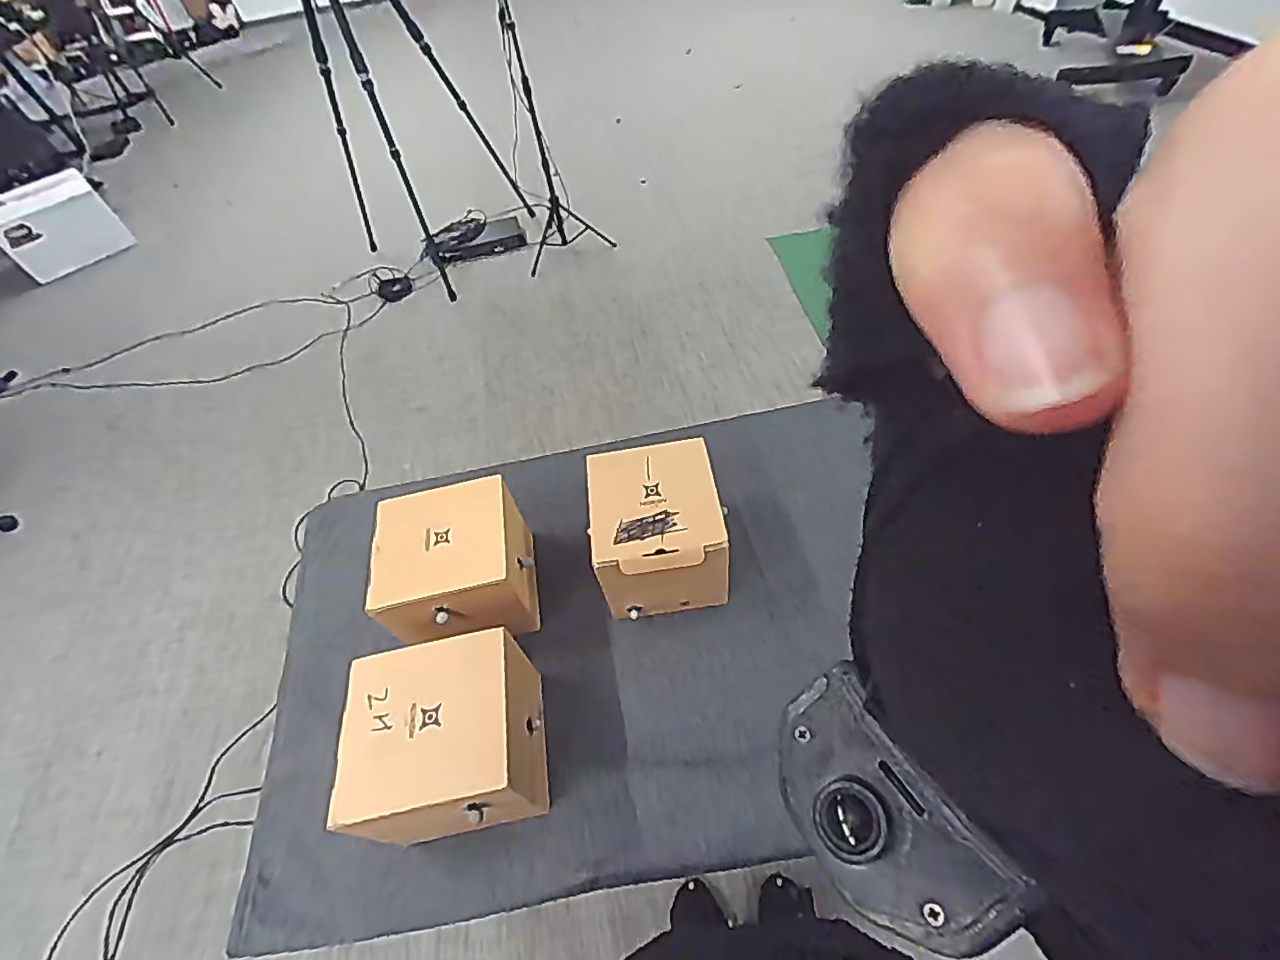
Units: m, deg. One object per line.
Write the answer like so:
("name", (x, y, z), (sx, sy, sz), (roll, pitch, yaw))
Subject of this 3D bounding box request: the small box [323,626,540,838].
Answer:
("small box", (-0.216, 0.291, 0.617), (0.179, 0.176, 0.168), (-12, 51, -1))

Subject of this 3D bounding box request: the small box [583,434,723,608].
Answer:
("small box", (0.020, 0.065, 0.752), (0.168, 0.176, 0.179), (-9, 52, 2))

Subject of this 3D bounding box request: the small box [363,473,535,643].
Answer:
("small box", (-0.252, 0.119, 0.756), (0.179, 0.176, 0.168), (-14, 53, -1))
